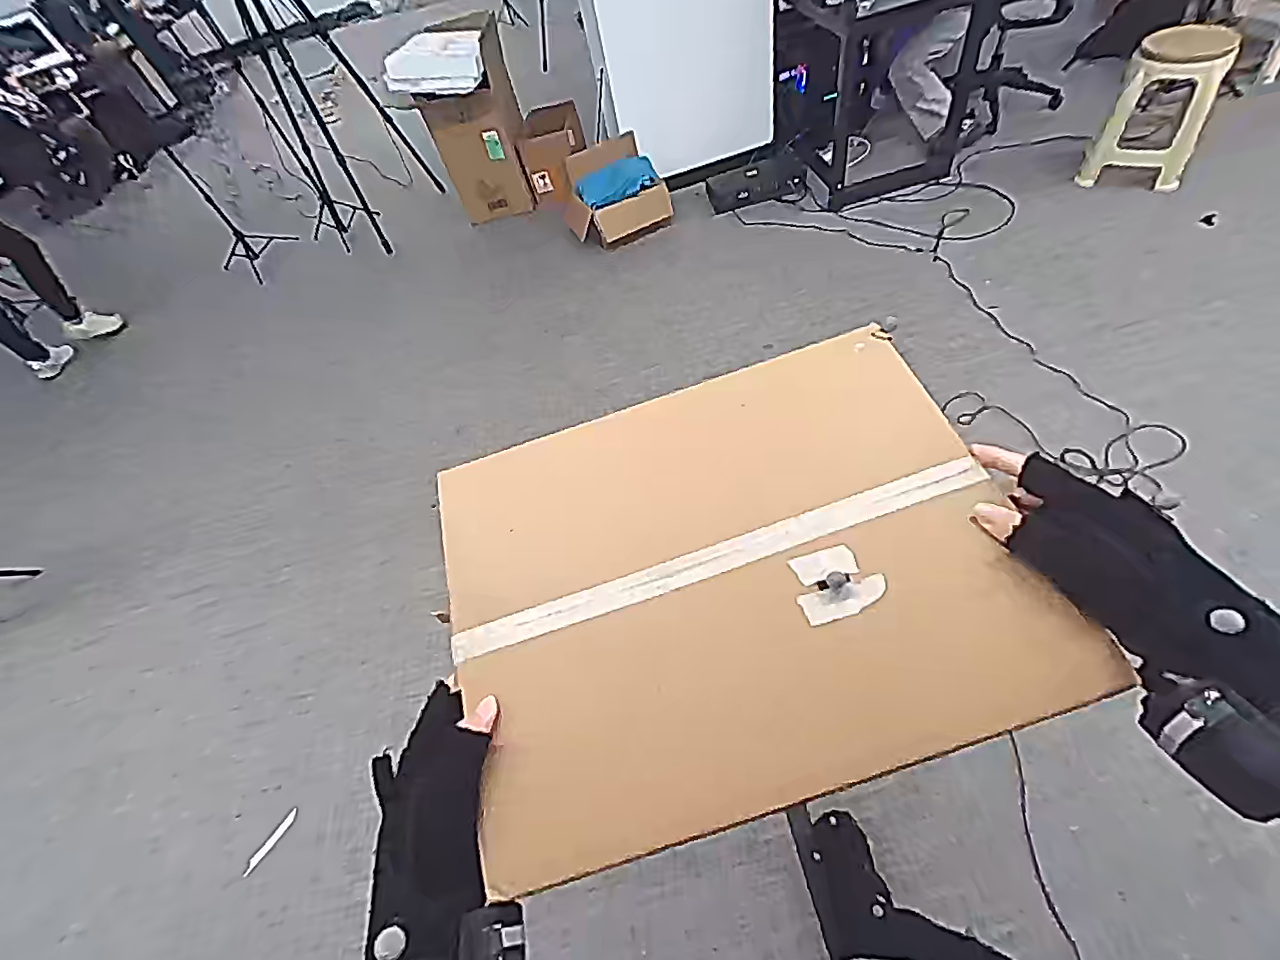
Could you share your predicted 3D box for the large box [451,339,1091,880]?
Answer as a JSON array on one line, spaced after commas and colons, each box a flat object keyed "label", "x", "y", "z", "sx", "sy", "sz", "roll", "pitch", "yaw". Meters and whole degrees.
[{"label": "large box", "x": 0.082, "y": 0.132, "z": 0.542, "sx": 0.408, "sy": 0.320, "sz": 0.320, "roll": -19, "pitch": 61, "yaw": -1}]
